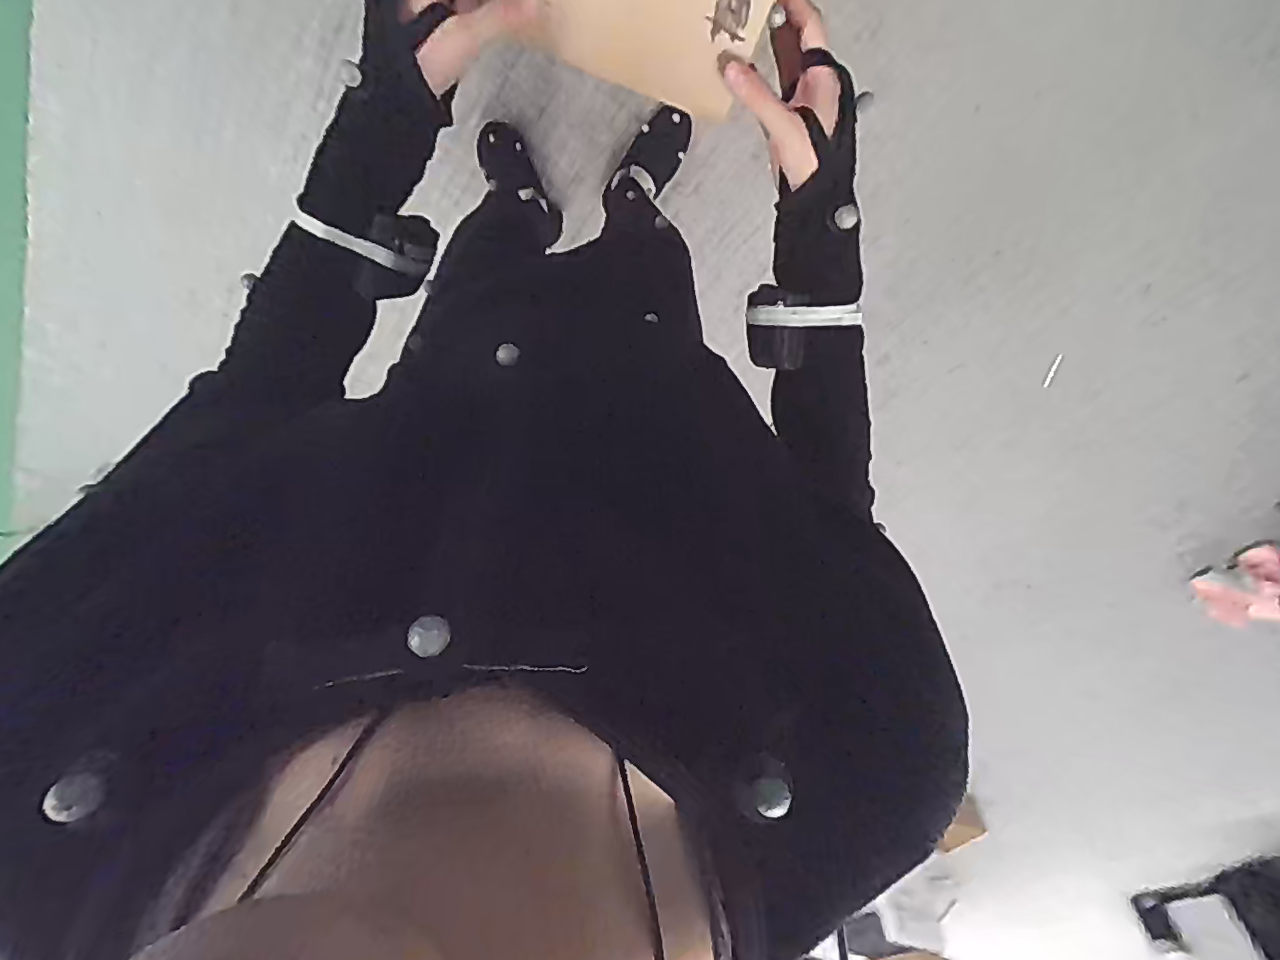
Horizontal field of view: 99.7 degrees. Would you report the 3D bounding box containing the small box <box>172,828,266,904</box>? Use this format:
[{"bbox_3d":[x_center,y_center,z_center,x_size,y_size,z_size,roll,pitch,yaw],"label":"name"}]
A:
[{"bbox_3d":[-1.430,1.312,1.843,0.179,0.176,0.168,34,123,-22],"label":"small box"}]

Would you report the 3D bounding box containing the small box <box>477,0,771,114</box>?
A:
[{"bbox_3d":[0.008,-0.385,0.352,0.179,0.176,0.168,14,140,-13],"label":"small box"}]
